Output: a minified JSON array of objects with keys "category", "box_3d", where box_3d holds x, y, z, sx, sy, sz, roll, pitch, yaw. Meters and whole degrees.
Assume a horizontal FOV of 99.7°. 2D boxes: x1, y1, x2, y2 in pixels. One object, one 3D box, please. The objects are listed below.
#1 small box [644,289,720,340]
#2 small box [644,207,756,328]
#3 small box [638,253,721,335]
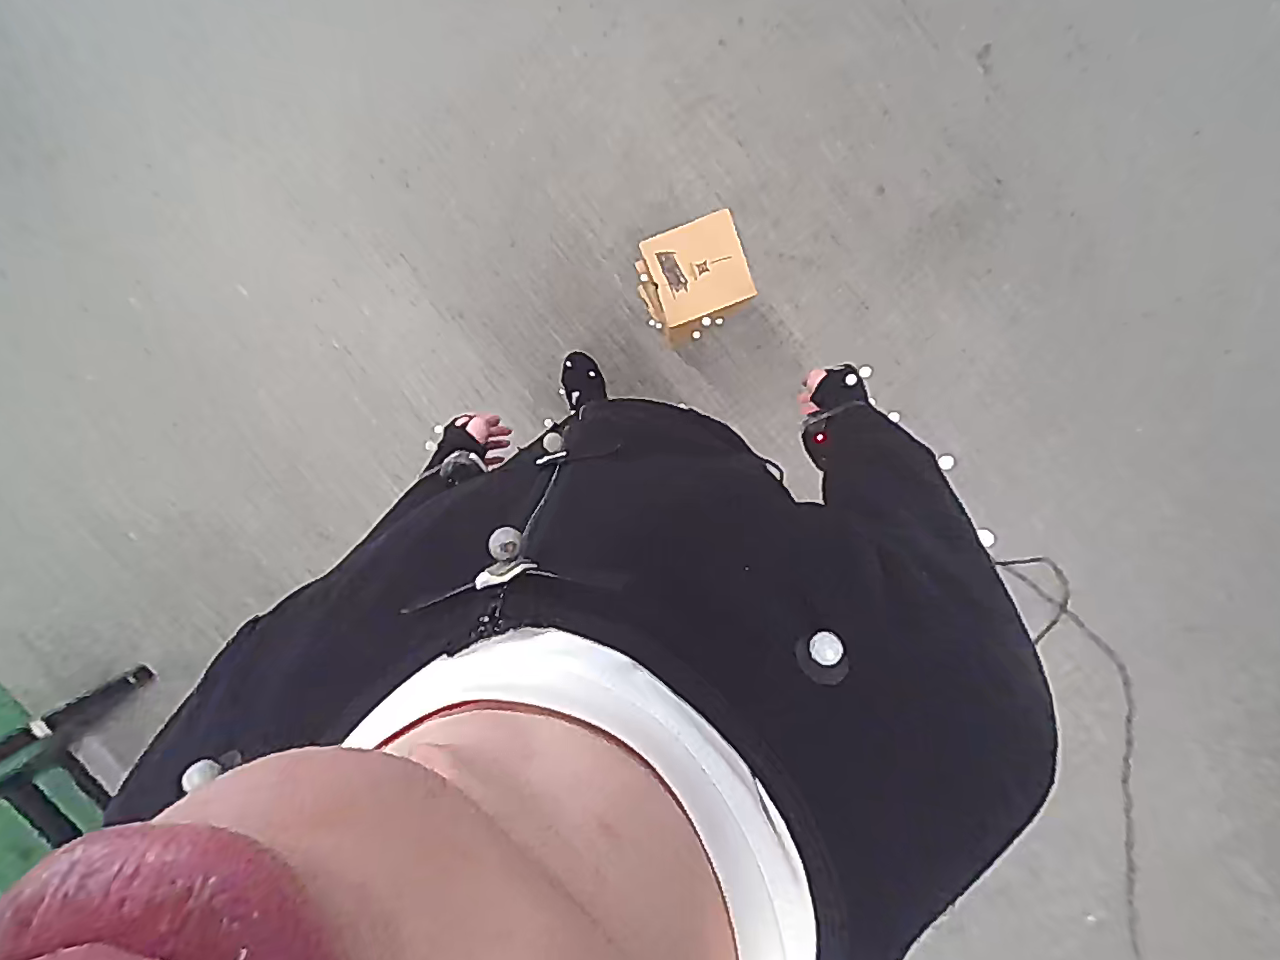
[{"category":"small box","box_3d":[0.130,-0.475,1.387,0.179,0.176,0.168,29,99,2]},{"category":"small box","box_3d":[0.118,-0.409,1.073,0.179,0.176,0.168,-15,99,7]},{"category":"small box","box_3d":[0.112,-0.445,1.236,0.168,0.176,0.179,-25,95,7]}]
